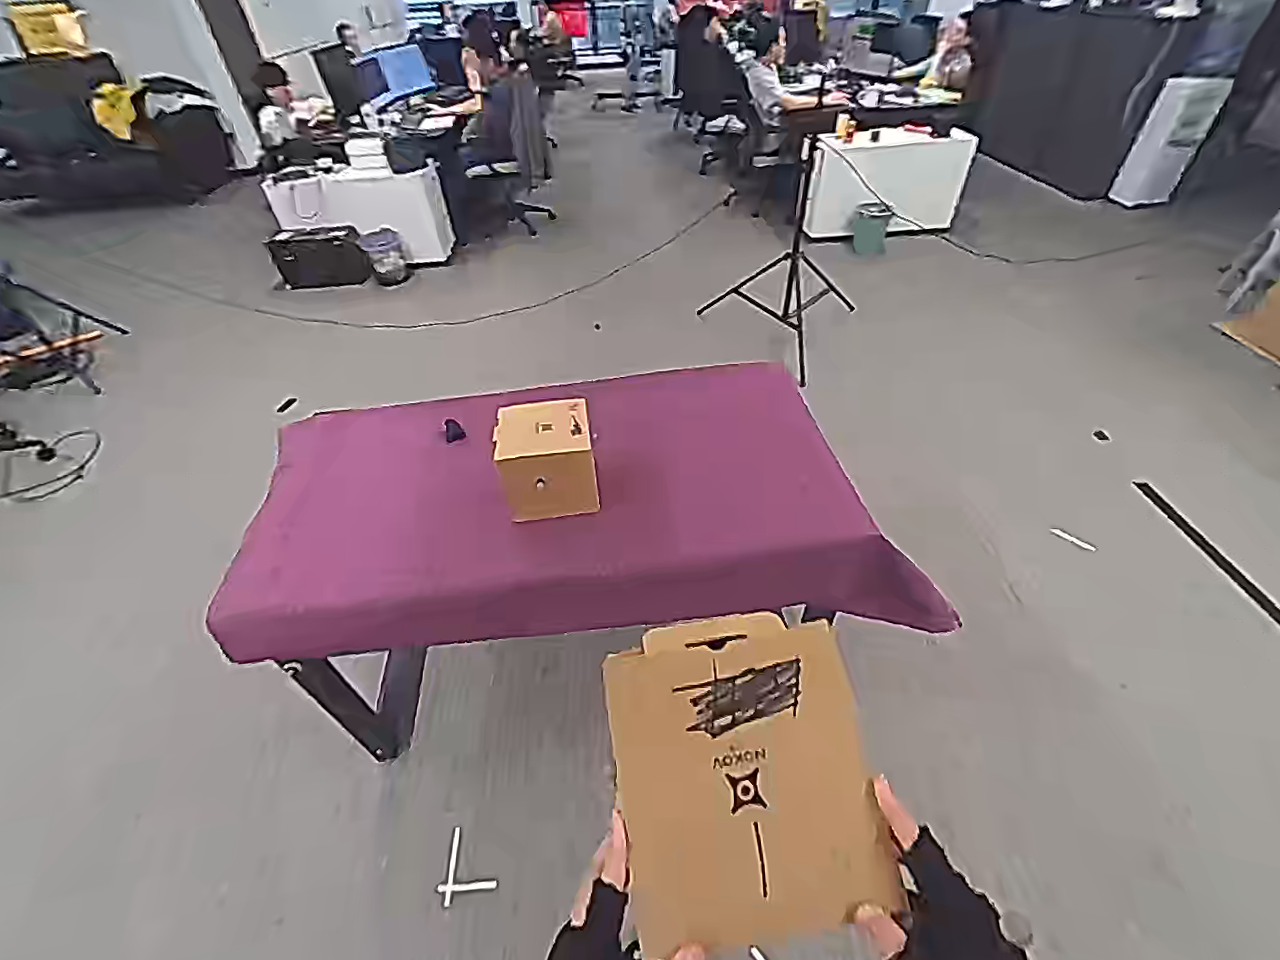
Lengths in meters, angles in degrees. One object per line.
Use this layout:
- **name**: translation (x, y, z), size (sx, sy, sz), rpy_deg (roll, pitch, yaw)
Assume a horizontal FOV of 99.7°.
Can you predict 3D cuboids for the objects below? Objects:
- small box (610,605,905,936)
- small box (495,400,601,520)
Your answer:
- **small box**: translation (0.068, 0.211, 0.428), size (0.168, 0.176, 0.179), rpy_deg (-8, 68, -3)
- **small box**: translation (-0.179, -0.037, 1.082), size (0.179, 0.176, 0.168), rpy_deg (-8, 43, -3)
